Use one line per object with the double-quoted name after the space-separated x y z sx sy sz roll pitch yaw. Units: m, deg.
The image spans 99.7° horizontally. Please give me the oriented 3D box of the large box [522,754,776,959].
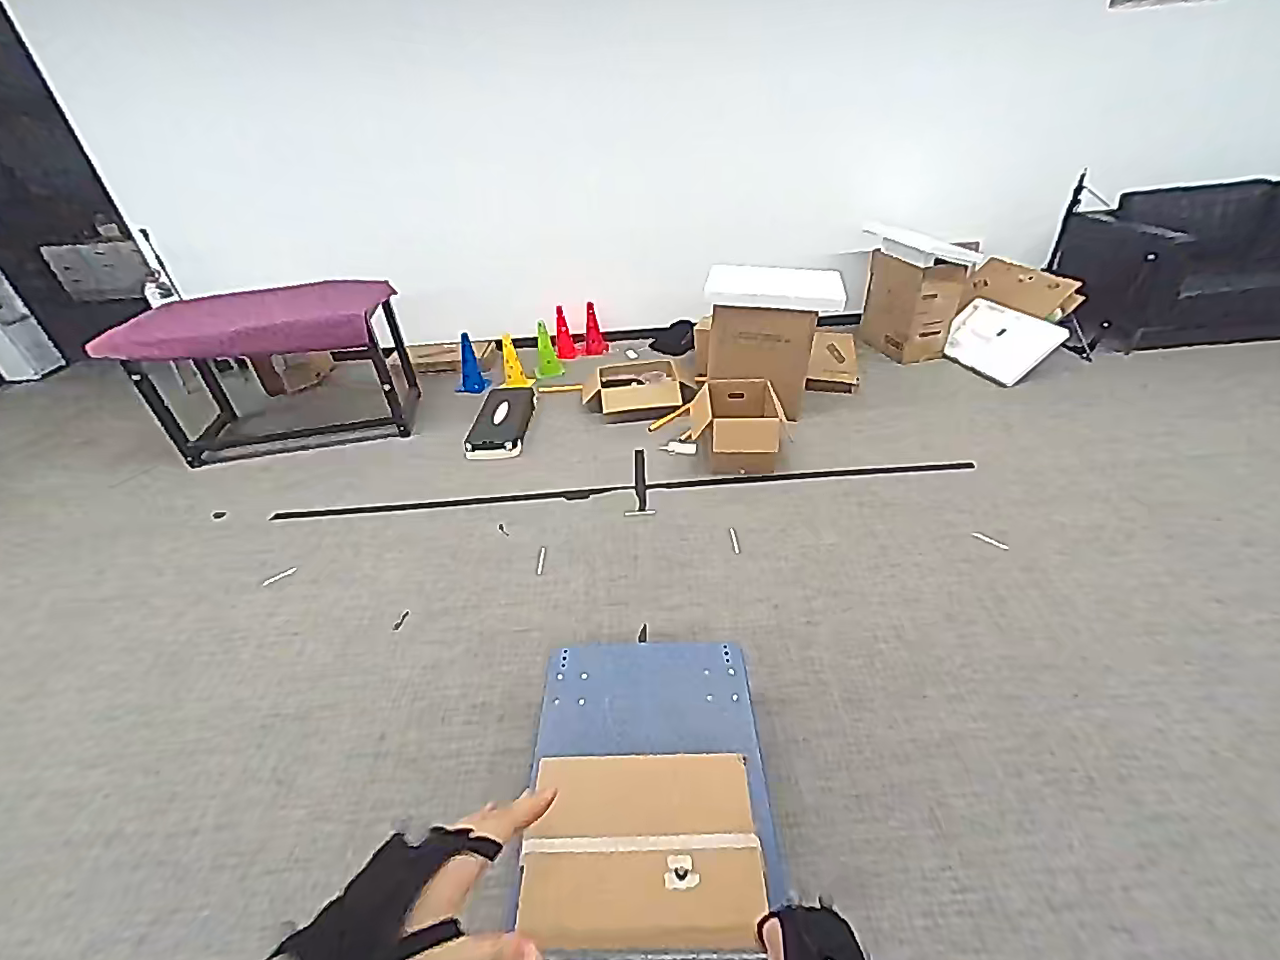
0.014 0.764 1.039 0.408 0.320 0.320 -2 36 1 "large box"
